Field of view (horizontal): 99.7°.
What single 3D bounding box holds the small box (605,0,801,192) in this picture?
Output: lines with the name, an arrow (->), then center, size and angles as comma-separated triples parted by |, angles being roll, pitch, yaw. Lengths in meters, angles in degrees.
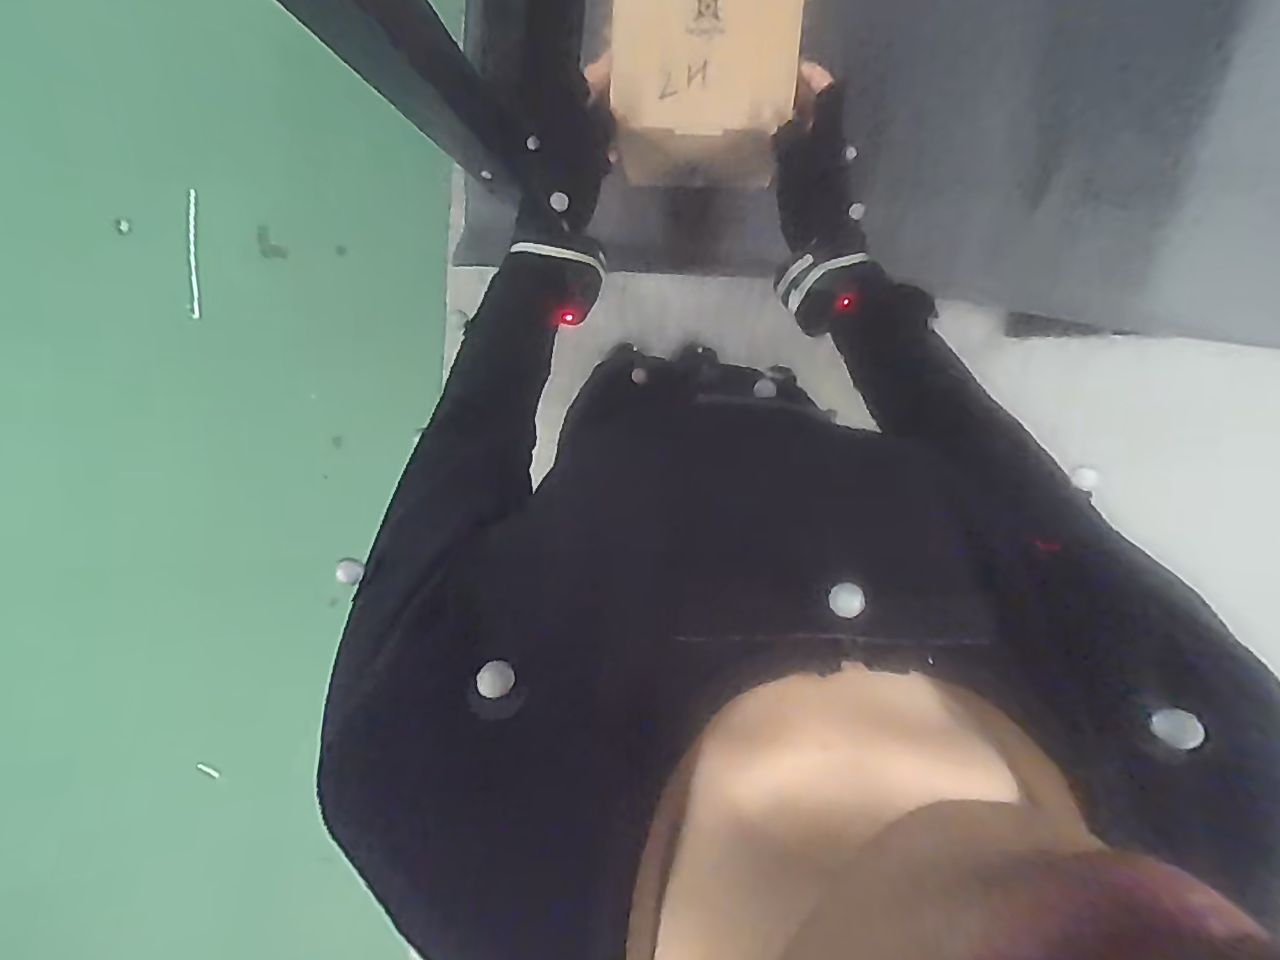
small box -> 0.061, -0.414, 0.544 | 0.168, 0.176, 0.179 | 4, 103, 4

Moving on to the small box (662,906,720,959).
small box -> 0.165, 1.553, 1.768 | 0.168, 0.176, 0.179 | 10, 103, -1
